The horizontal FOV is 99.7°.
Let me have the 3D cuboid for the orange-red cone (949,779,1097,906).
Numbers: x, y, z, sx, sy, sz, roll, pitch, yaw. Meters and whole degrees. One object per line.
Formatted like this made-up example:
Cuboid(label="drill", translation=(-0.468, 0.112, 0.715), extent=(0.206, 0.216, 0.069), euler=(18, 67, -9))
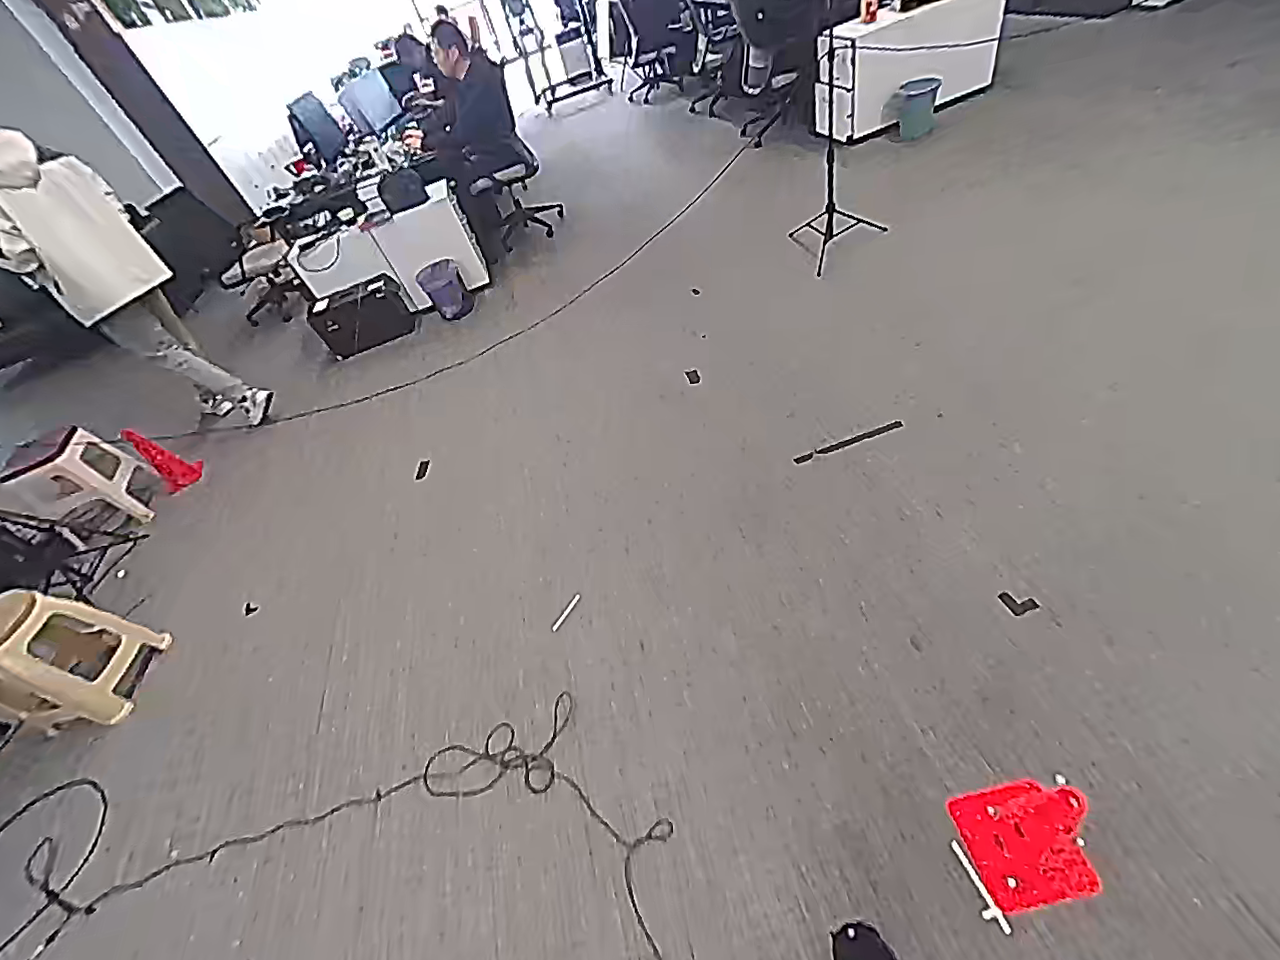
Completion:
Cuboid(label="orange-red cone", translation=(0.717, 0.608, 0.963), extent=(0.199, 0.360, 0.198), euler=(-16, 46, 4))
